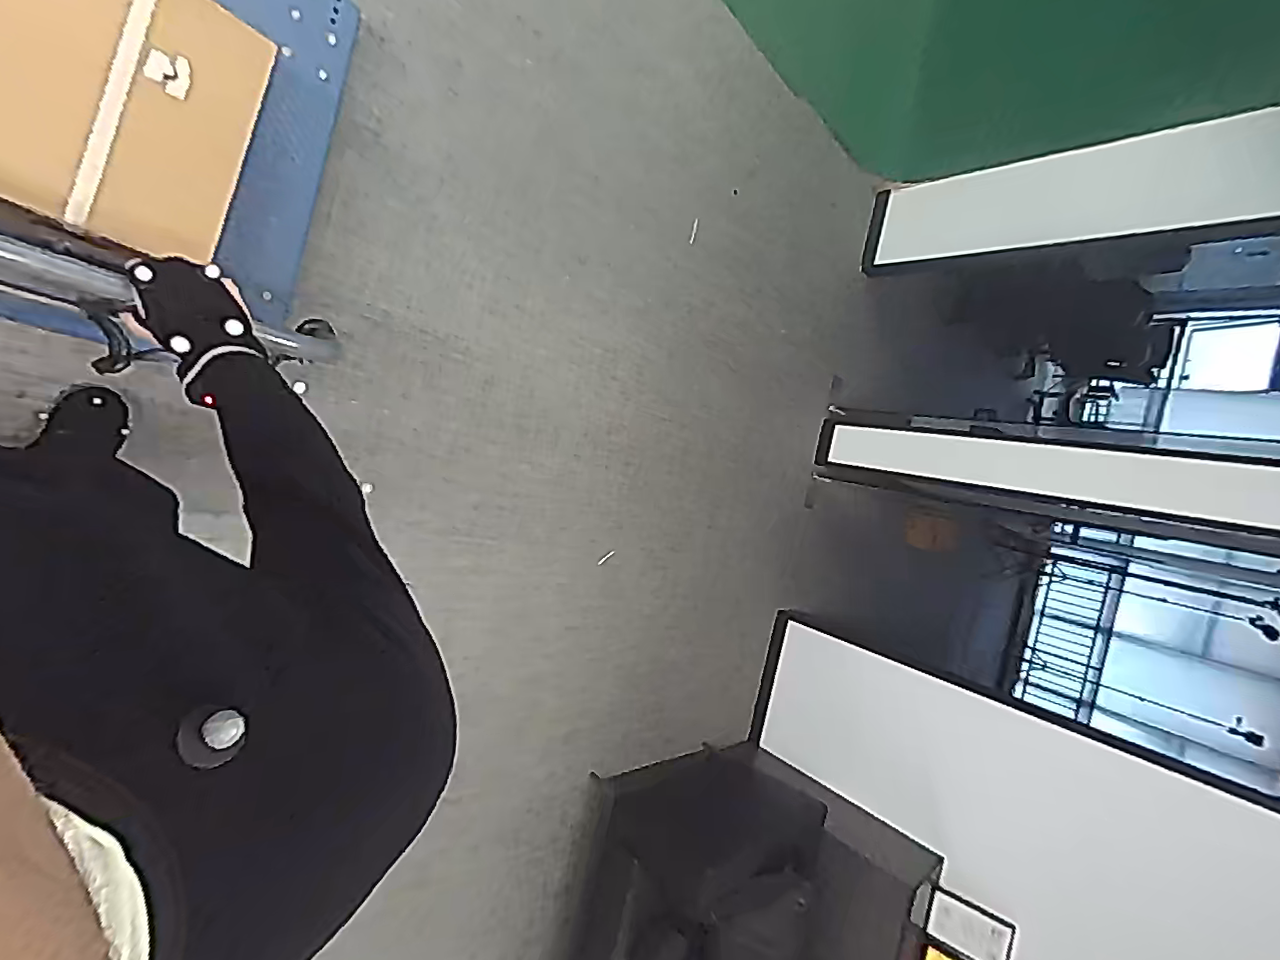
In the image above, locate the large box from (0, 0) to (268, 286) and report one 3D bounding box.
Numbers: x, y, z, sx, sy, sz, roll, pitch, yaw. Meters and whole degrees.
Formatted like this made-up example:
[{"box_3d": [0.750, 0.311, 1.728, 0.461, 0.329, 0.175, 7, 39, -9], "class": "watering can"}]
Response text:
[{"box_3d": [-0.867, -0.585, 0.887, 0.320, 0.320, 0.408, 18, 87, -45], "class": "large box"}]
